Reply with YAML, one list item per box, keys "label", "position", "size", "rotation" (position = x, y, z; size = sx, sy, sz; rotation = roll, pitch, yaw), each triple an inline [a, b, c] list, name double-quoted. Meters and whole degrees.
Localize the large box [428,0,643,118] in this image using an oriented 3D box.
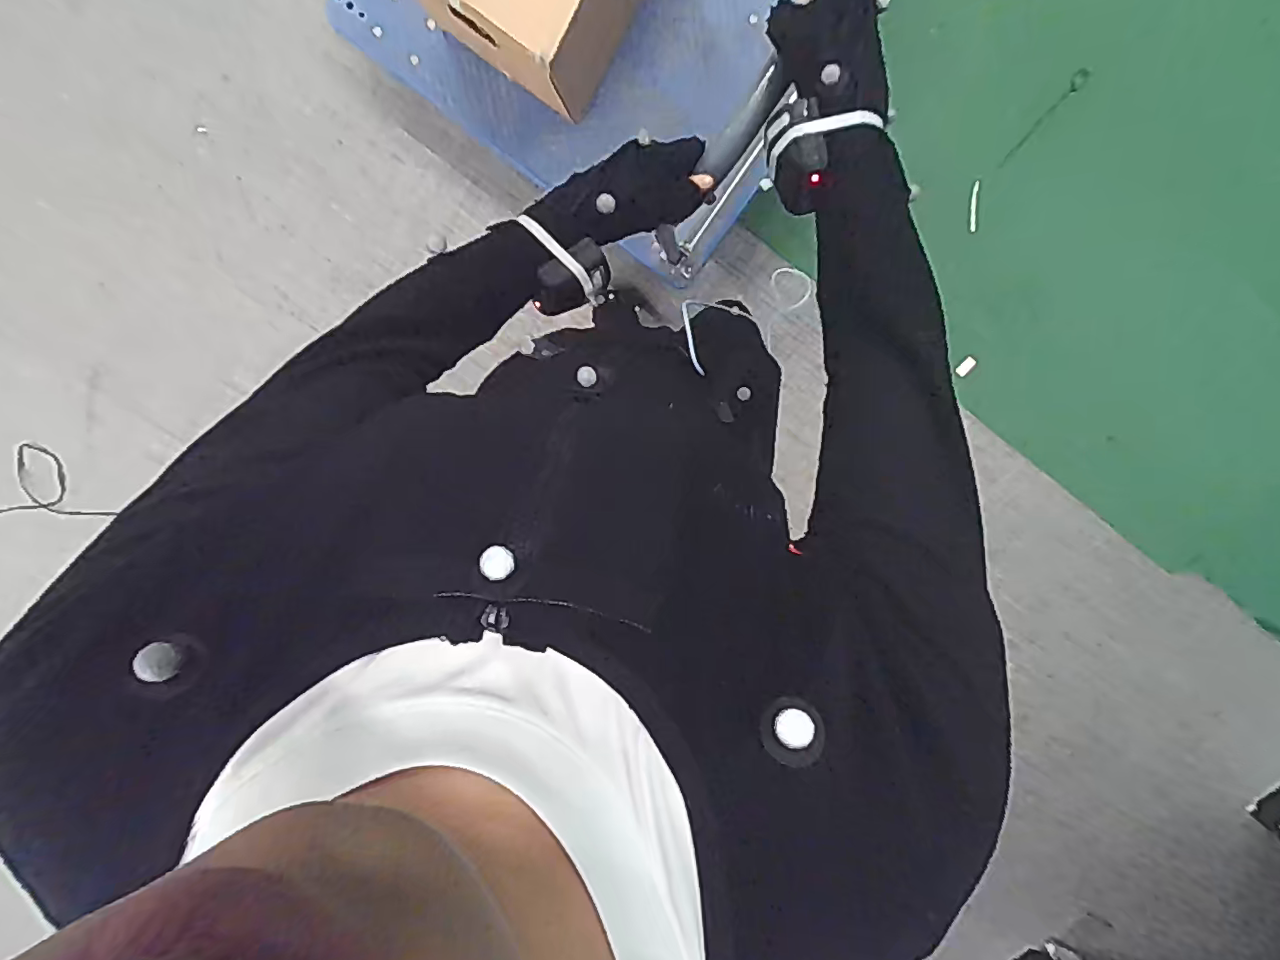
- label: "large box"
  position: [-0.139, -0.897, 0.854]
  size: [0.320, 0.320, 0.408]
  rotation: [32, 108, -8]
